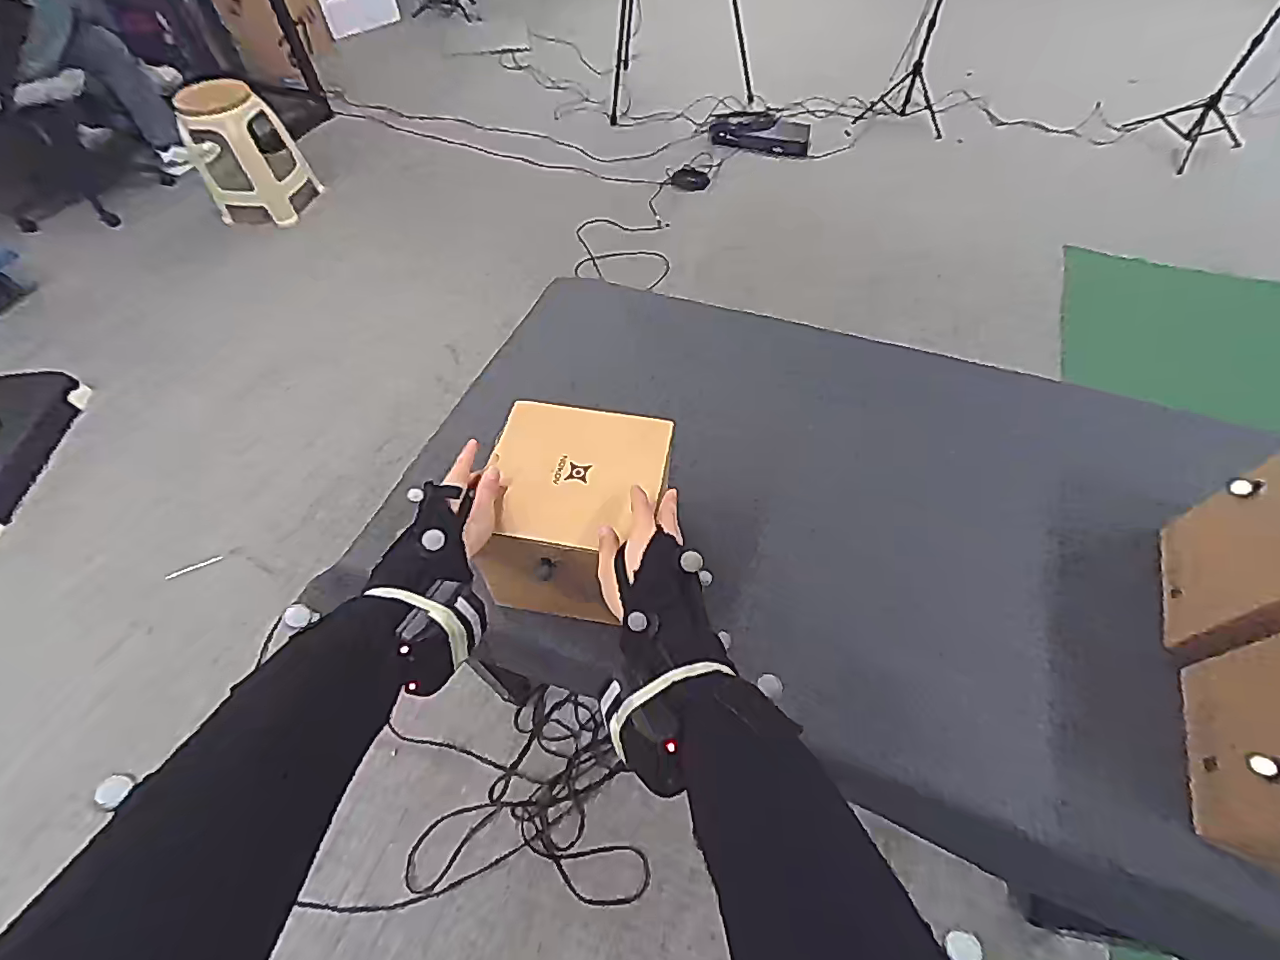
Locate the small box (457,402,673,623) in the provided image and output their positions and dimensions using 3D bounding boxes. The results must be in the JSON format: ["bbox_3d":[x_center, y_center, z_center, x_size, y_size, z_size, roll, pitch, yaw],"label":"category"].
[{"bbox_3d":[-0.065,0.041,0.587,0.179,0.176,0.168,8,54,7],"label":"small box"}]
